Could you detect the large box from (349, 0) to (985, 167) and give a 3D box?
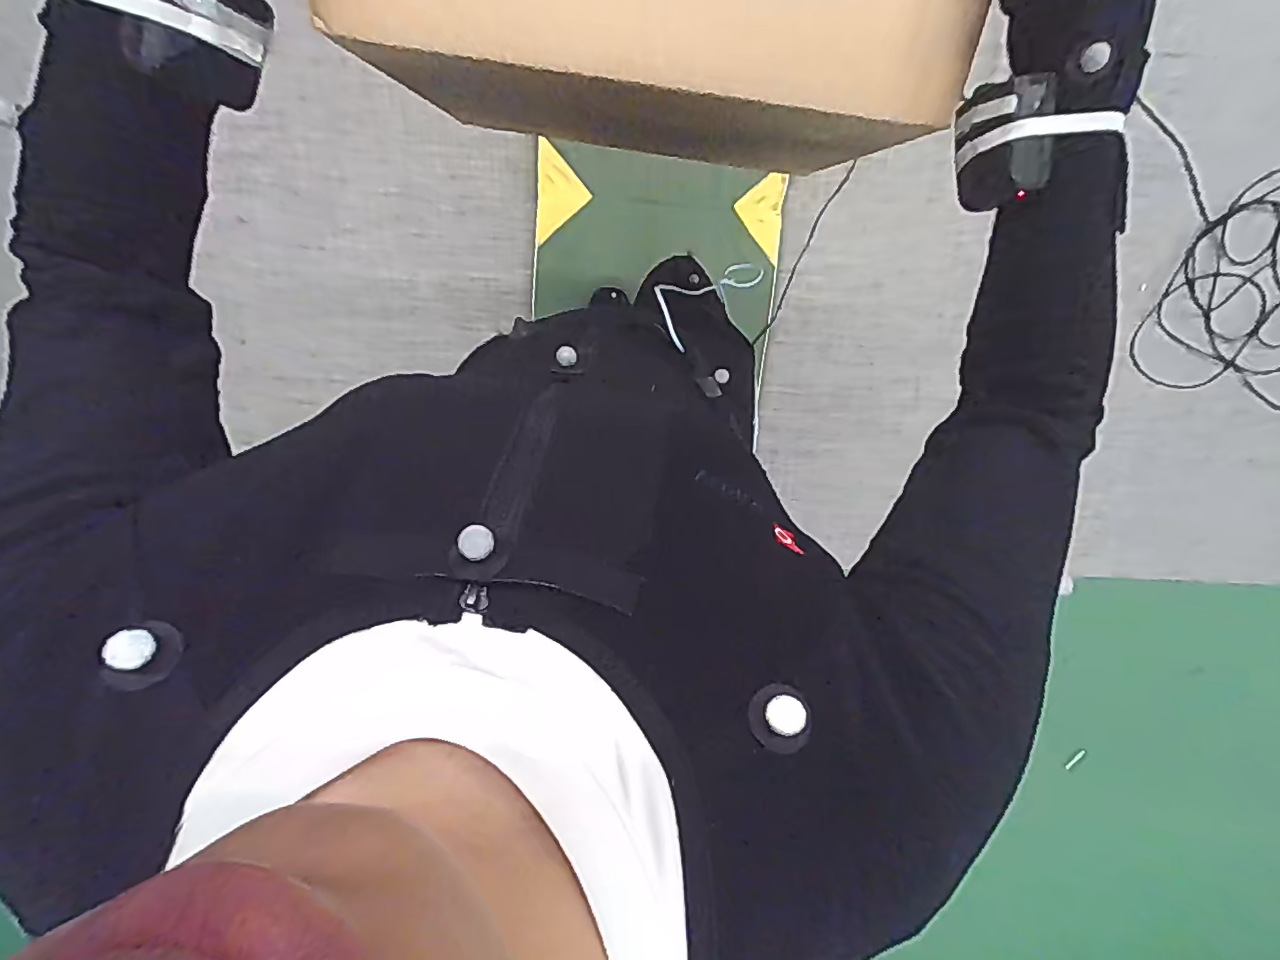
[{"bbox_3d":[0.026,-0.461,0.426,0.408,0.320,0.320,5,115,-5],"label":"large box"}]
